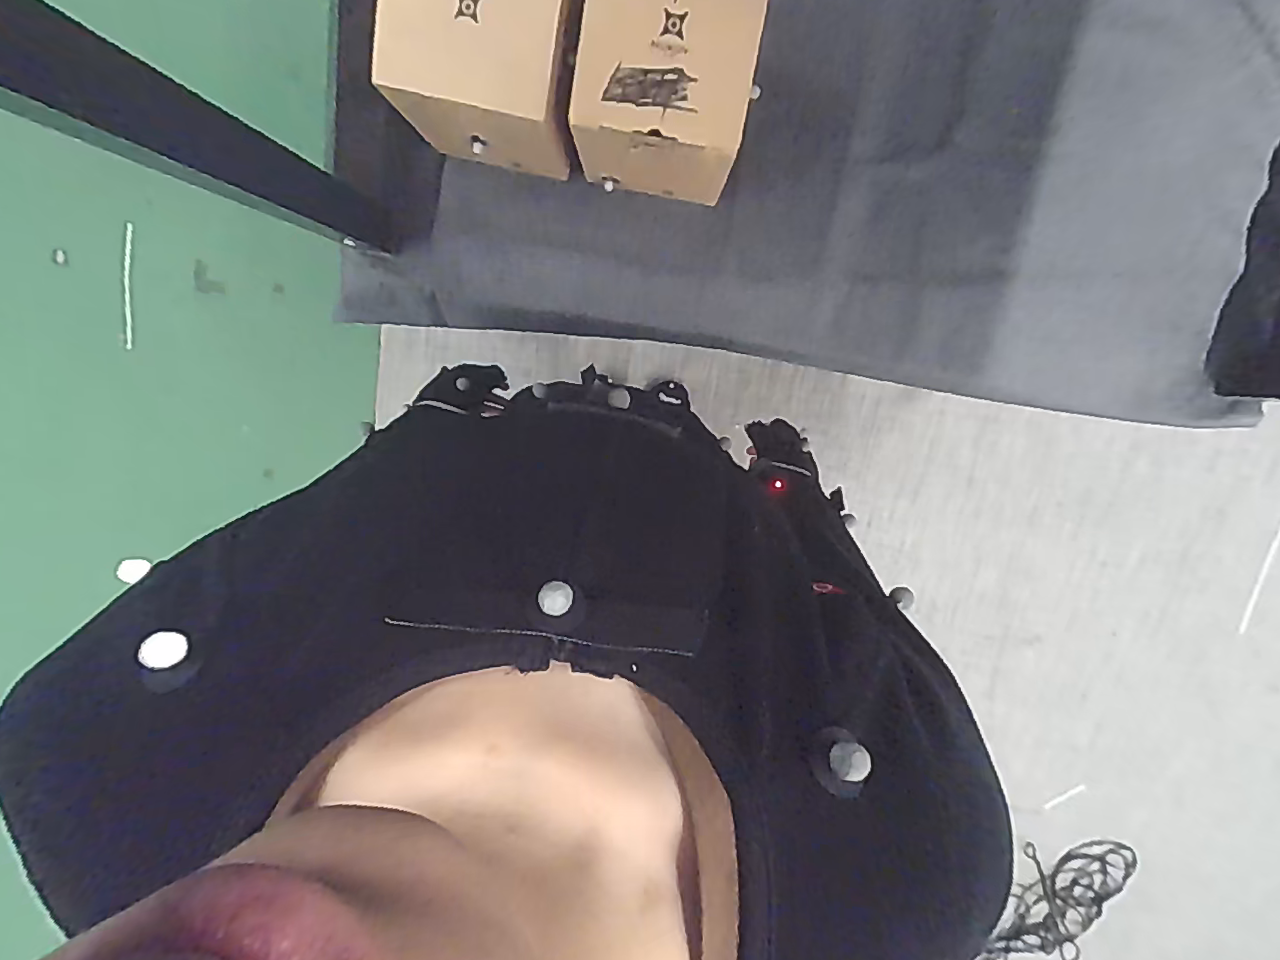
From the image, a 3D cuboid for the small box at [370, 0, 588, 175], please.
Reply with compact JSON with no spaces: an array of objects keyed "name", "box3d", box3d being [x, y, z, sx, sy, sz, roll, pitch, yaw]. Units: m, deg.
[{"name":"small box","box3d":[-0.152,-0.447,0.561,0.168,0.176,0.179,11,101,-3]}]
